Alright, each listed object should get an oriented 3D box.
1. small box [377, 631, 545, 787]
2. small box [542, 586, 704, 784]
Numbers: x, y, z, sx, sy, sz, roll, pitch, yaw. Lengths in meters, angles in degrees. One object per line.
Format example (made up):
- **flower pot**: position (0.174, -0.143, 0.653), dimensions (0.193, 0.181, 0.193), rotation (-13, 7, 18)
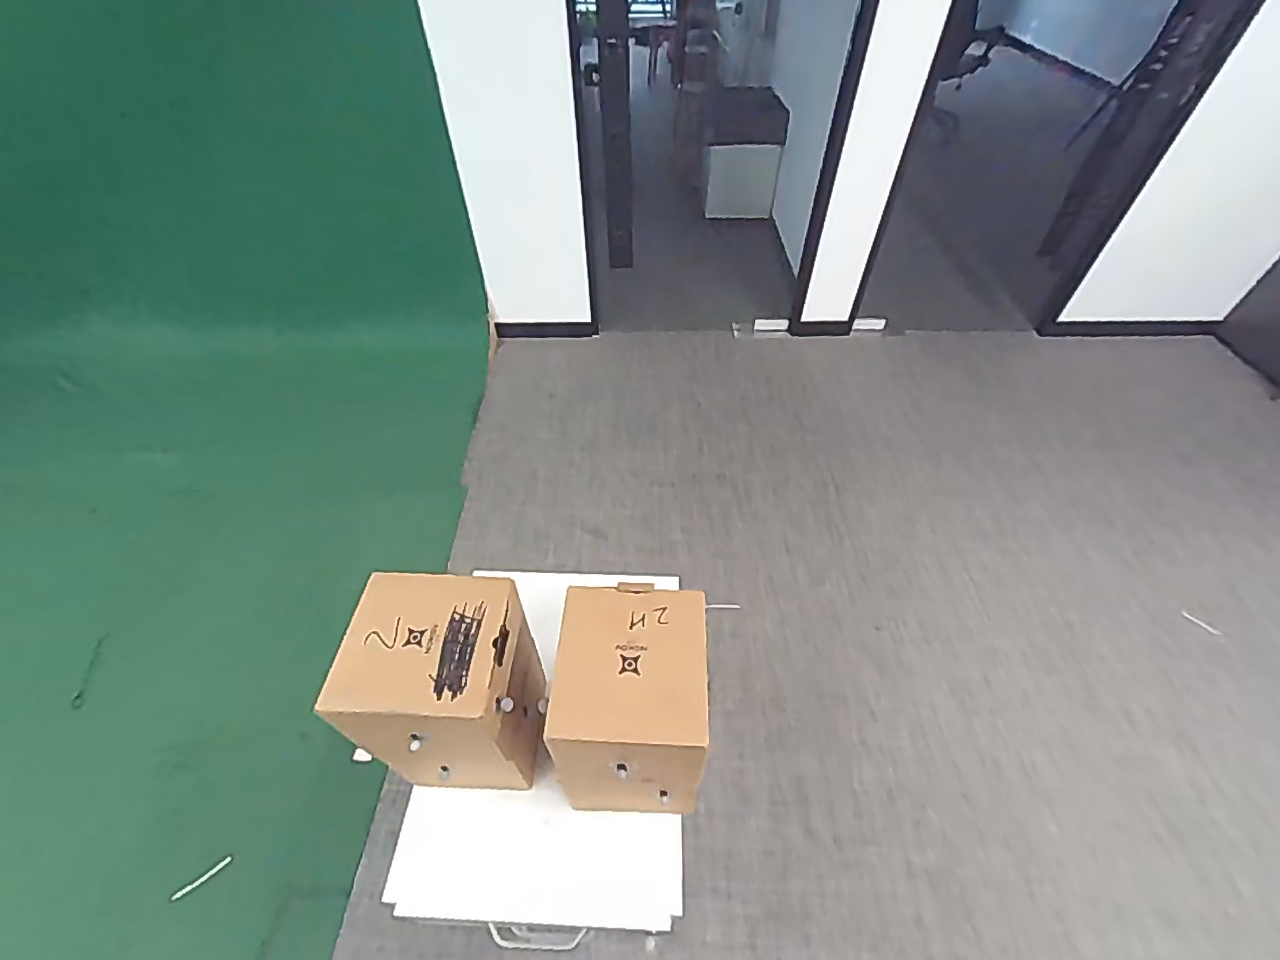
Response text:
- **small box**: position (-0.244, 0.336, 0.788), dimensions (0.179, 0.176, 0.168), rotation (2, 49, 0)
- **small box**: position (-0.012, 0.248, 0.647), dimensions (0.168, 0.176, 0.179), rotation (3, 48, 2)
